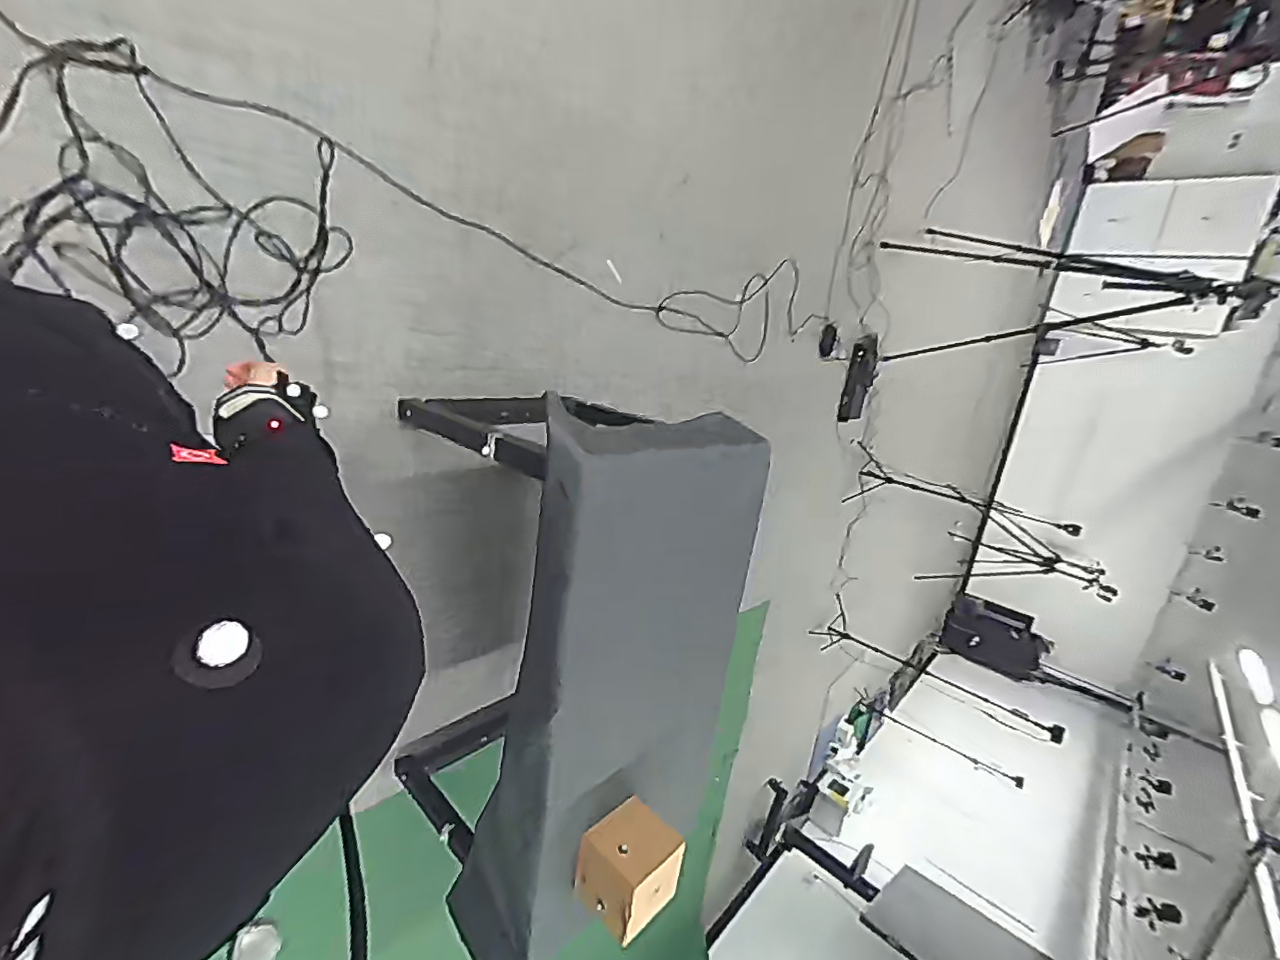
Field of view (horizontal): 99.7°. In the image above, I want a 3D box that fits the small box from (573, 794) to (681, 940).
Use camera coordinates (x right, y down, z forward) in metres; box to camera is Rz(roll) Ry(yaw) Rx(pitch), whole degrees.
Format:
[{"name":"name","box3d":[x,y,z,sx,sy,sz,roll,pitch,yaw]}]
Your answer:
[{"name":"small box","box3d":[-0.033,0.877,1.245,0.179,0.176,0.168,-9,114,-49]}]
